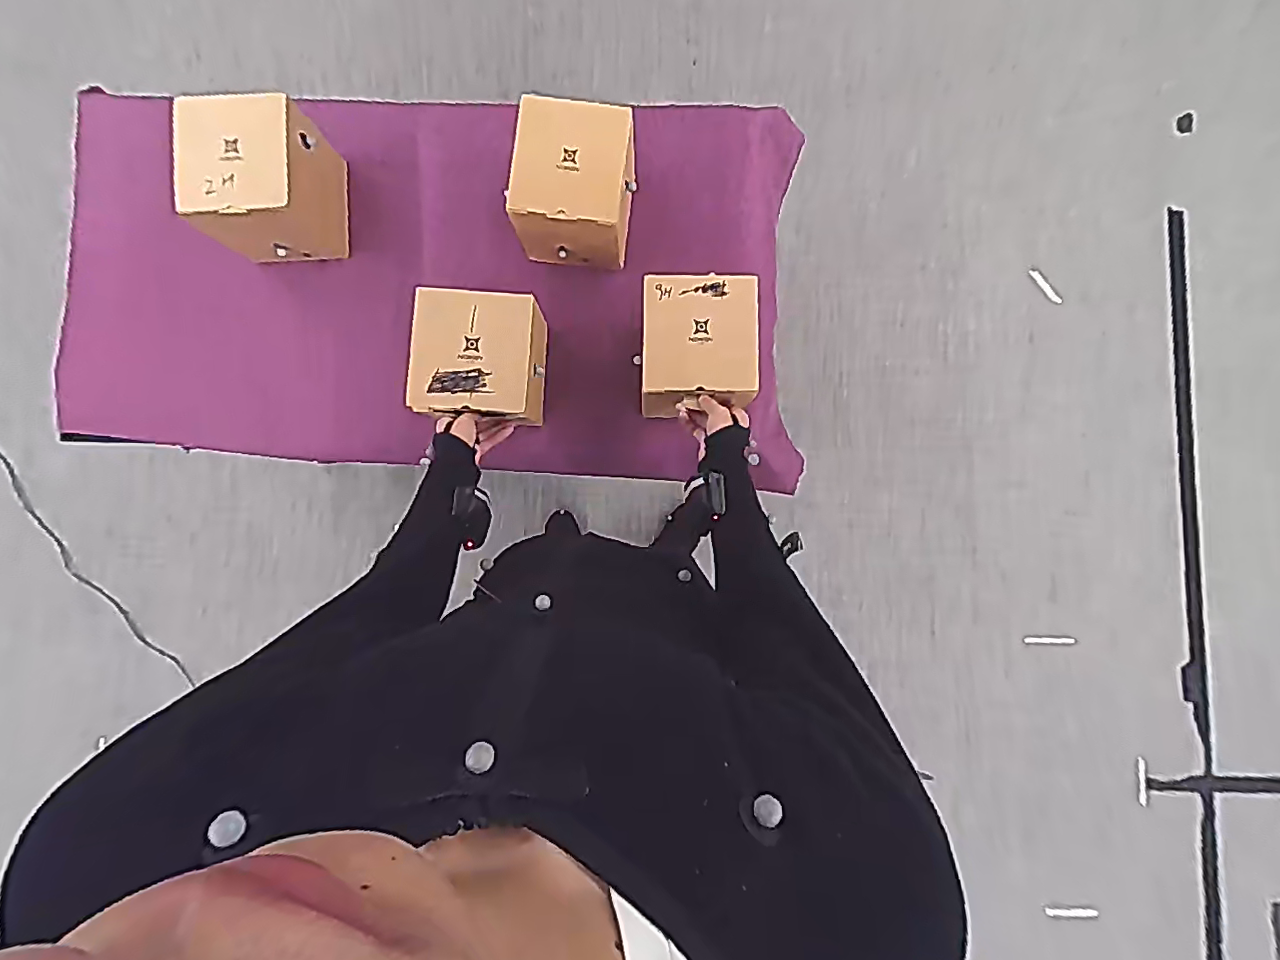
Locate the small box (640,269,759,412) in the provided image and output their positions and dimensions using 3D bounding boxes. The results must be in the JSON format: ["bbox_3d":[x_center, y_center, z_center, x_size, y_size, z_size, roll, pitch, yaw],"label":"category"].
[{"bbox_3d":[0.087,-0.206,0.839,0.168,0.176,0.179,1,84,1],"label":"small box"}]

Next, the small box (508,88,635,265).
[{"bbox_3d":[-0.100,-0.470,0.859,0.168,0.176,0.179,7,89,1],"label":"small box"}]

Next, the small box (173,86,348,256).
[{"bbox_3d":[-0.588,-0.479,0.858,0.168,0.176,0.179,-2,88,0],"label":"small box"}]

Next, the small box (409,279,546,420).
[{"bbox_3d":[-0.240,-0.188,0.833,0.168,0.176,0.179,4,91,-4],"label":"small box"}]
